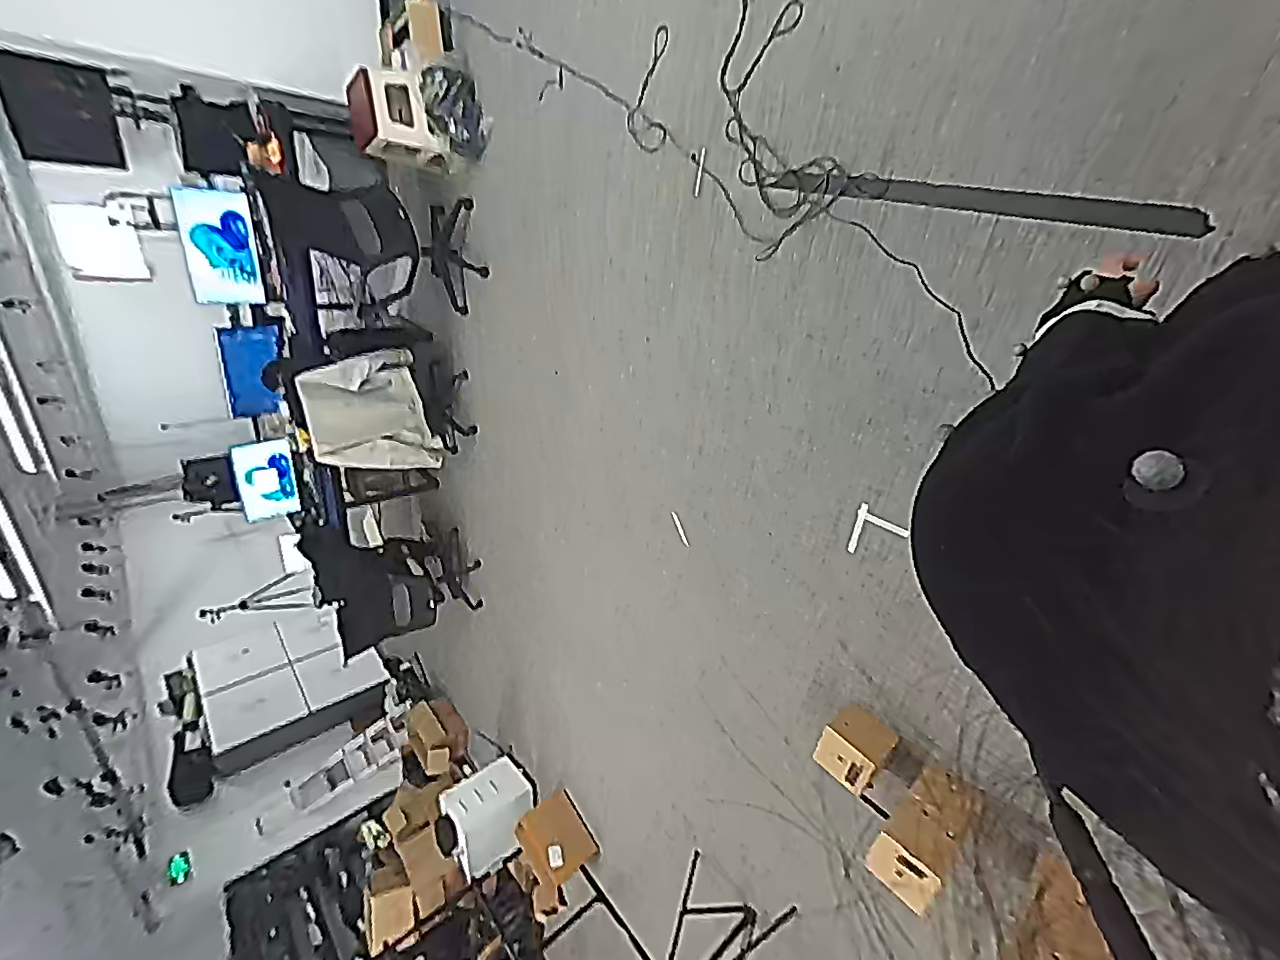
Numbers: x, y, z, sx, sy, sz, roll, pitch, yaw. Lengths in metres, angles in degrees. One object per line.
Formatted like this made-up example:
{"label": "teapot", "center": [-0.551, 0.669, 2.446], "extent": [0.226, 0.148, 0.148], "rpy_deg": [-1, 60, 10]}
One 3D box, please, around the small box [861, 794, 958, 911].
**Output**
{"label": "small box", "center": [0.753, 1.025, 1.504], "extent": [0.168, 0.176, 0.179], "rpy_deg": [31, 126, 39]}

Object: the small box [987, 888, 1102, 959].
{"label": "small box", "center": [0.971, 1.153, 1.304], "extent": [0.179, 0.176, 0.168], "rpy_deg": [25, 120, 43]}

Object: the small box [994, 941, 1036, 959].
{"label": "small box", "center": [0.859, 1.193, 1.192], "extent": [0.179, 0.176, 0.168], "rpy_deg": [24, 120, 42]}

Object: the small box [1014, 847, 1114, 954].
{"label": "small box", "center": [1.093, 1.116, 1.406], "extent": [0.179, 0.176, 0.168], "rpy_deg": [22, 119, 42]}
